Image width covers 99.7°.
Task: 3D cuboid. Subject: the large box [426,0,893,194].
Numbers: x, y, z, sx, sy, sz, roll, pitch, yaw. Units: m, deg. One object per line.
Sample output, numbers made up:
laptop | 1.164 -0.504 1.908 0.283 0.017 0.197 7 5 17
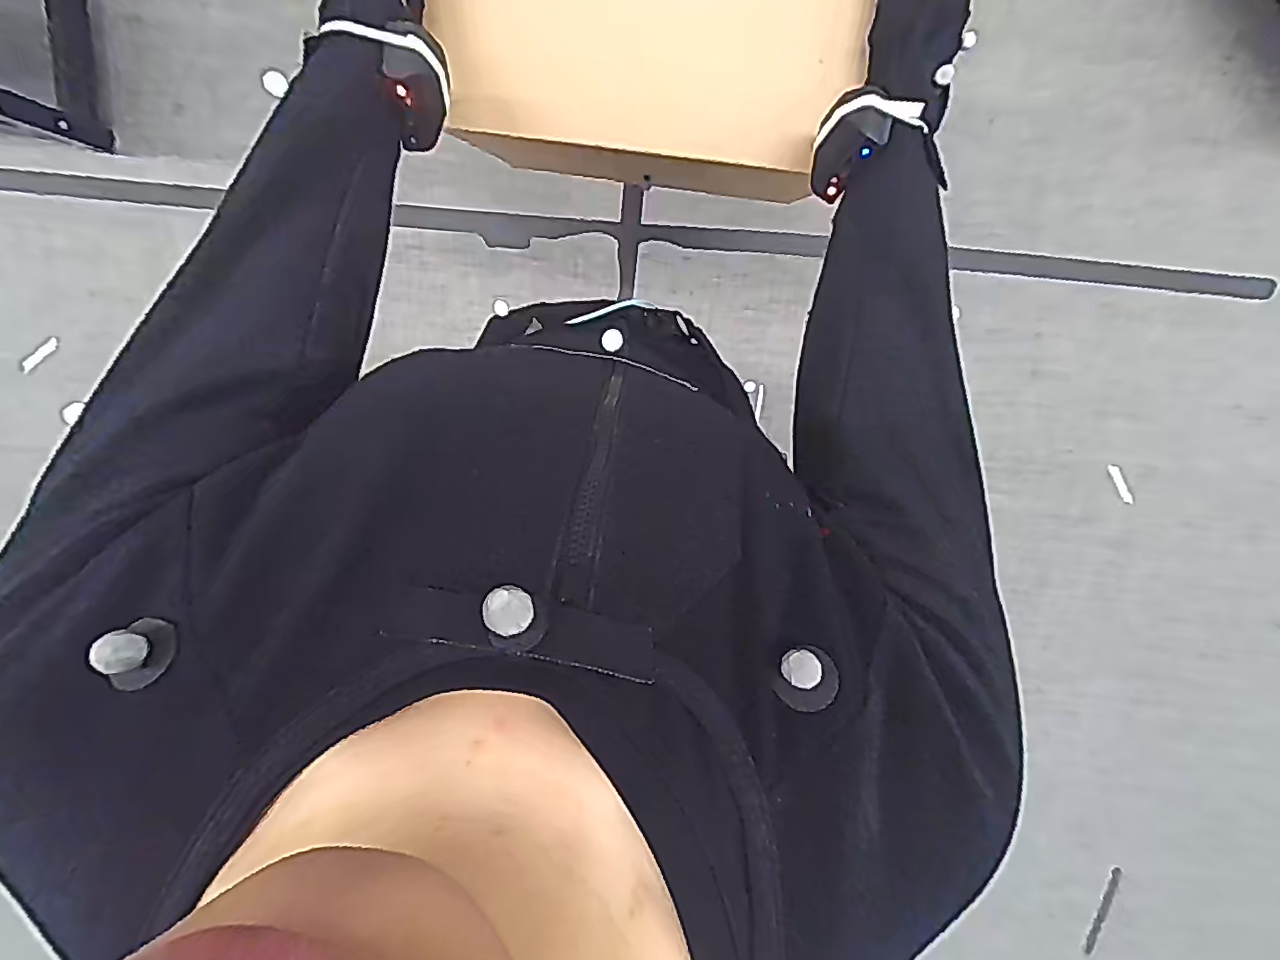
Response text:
large box | 0.028 -0.505 0.577 0.408 0.320 0.320 7 113 0
